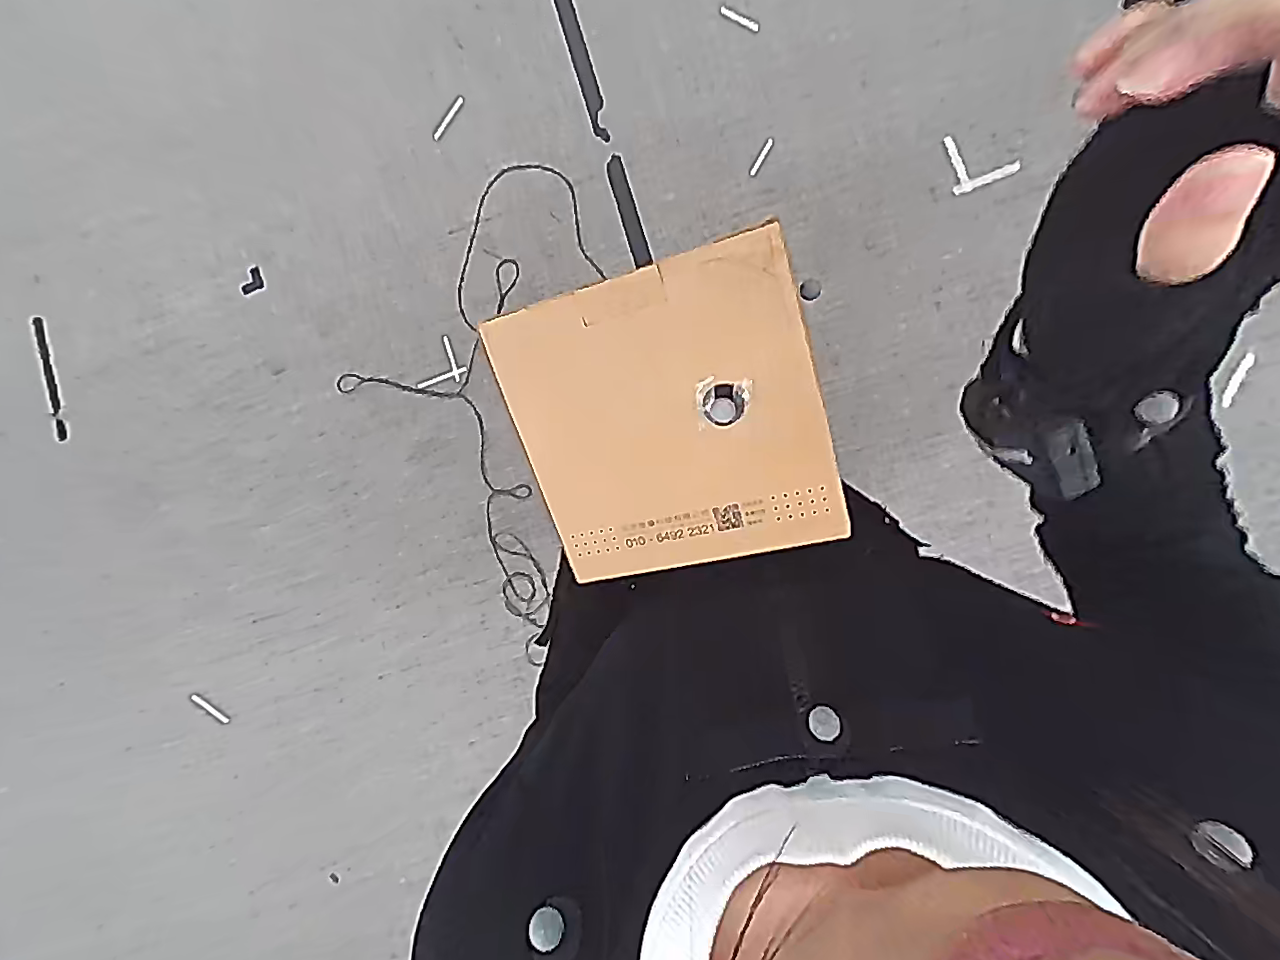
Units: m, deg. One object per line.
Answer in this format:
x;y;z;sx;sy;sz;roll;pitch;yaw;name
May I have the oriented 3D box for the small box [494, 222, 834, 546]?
0.033;-0.063;0.384;0.168;0.179;0.176;-12;108;18;small box
